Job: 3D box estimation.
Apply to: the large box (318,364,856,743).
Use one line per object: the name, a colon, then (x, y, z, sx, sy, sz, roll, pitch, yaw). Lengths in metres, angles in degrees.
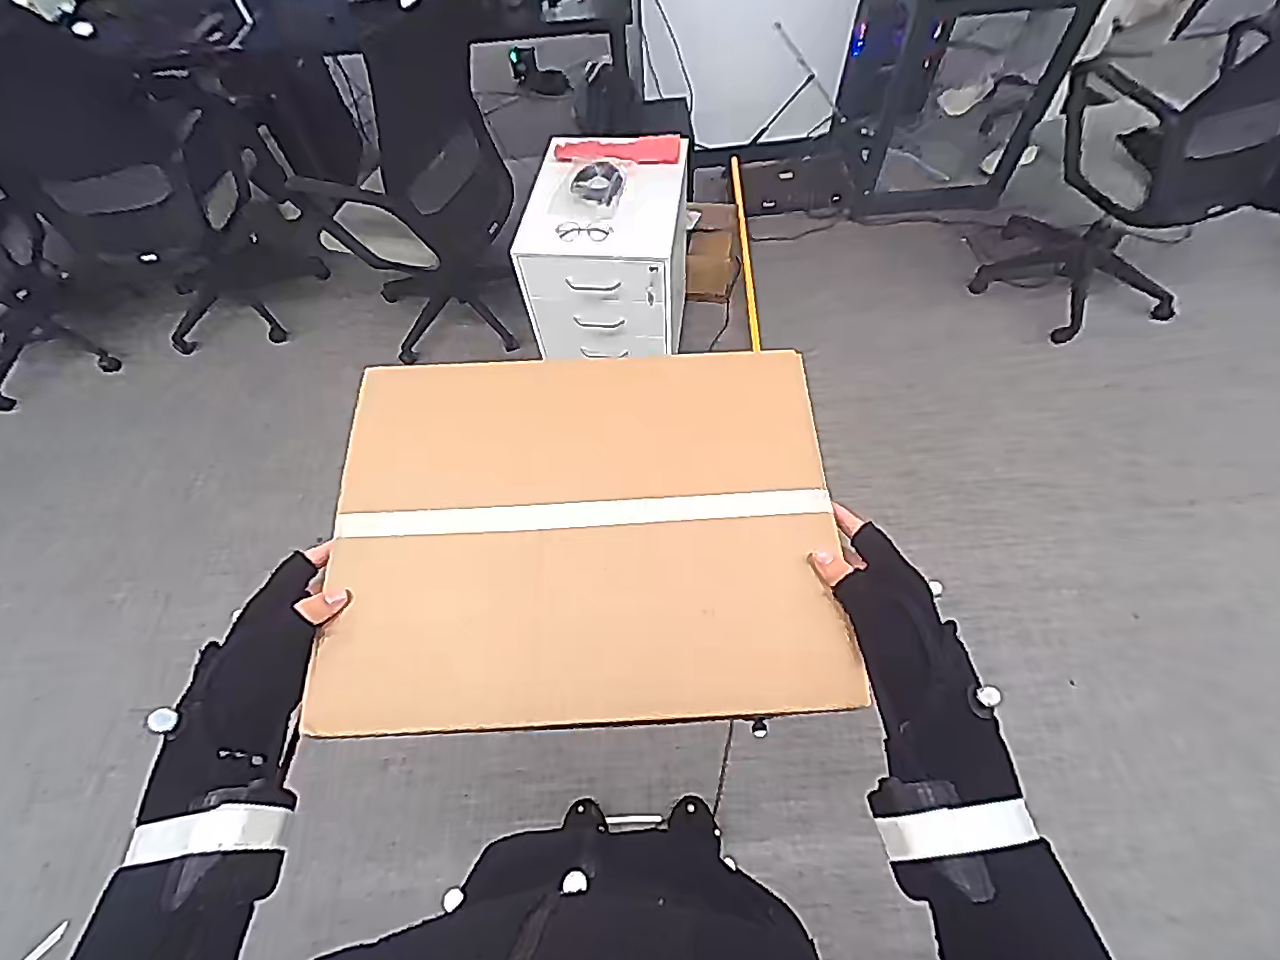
large box: (-0.044, 0.098, 0.590, 0.408, 0.320, 0.320, -2, 65, -1)
